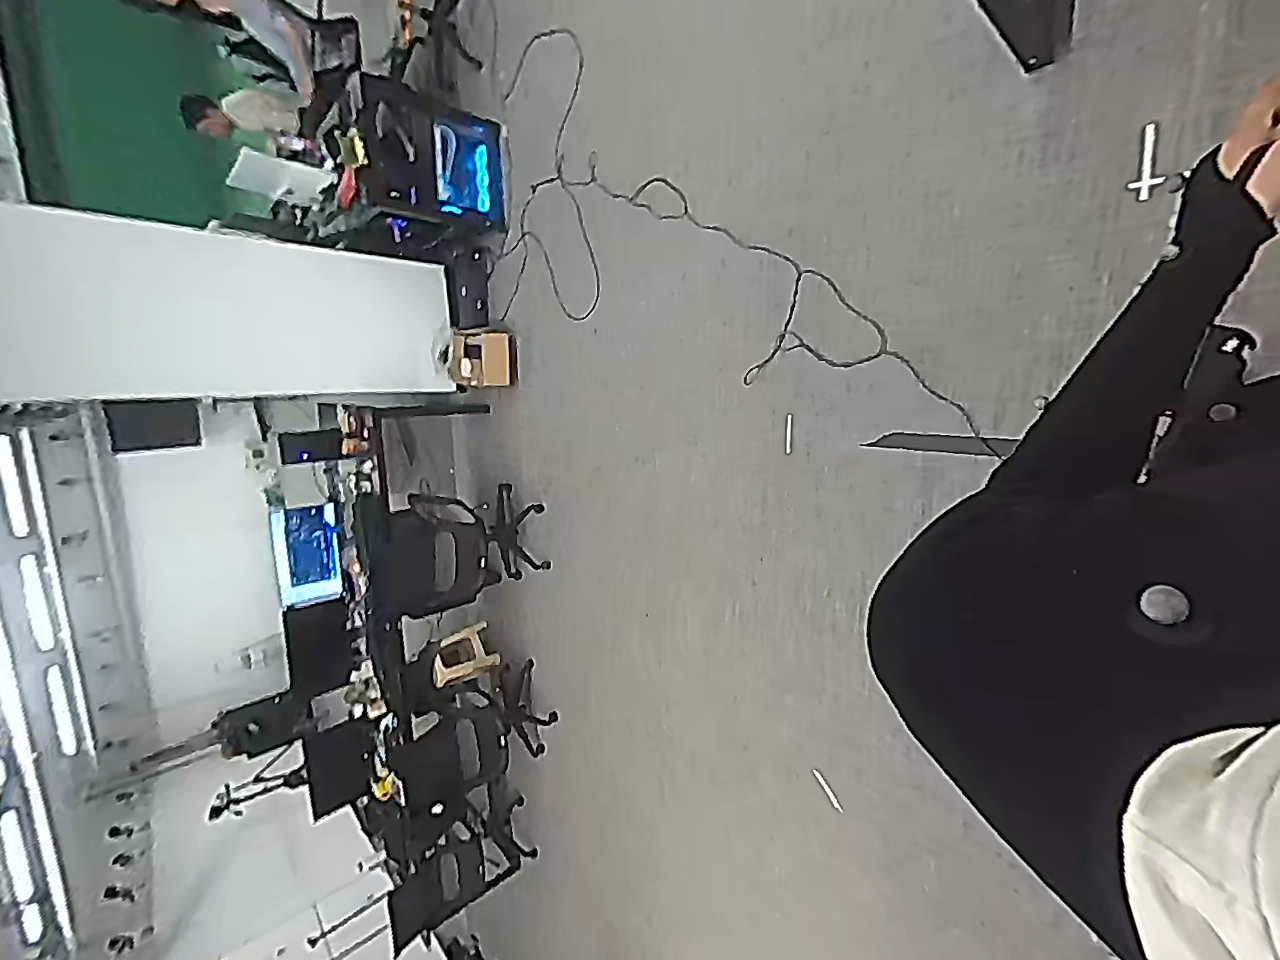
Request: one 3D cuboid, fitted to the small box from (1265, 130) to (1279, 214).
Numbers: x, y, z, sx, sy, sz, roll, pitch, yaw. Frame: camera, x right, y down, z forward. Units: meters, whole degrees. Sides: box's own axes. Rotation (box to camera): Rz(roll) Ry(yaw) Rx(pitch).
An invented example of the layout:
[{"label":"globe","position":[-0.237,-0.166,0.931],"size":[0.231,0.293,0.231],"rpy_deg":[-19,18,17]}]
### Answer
[{"label":"small box","position":[0.620,-0.321,0.397],"size":[0.179,0.176,0.168],"rpy_deg":[19,96,46]}]
